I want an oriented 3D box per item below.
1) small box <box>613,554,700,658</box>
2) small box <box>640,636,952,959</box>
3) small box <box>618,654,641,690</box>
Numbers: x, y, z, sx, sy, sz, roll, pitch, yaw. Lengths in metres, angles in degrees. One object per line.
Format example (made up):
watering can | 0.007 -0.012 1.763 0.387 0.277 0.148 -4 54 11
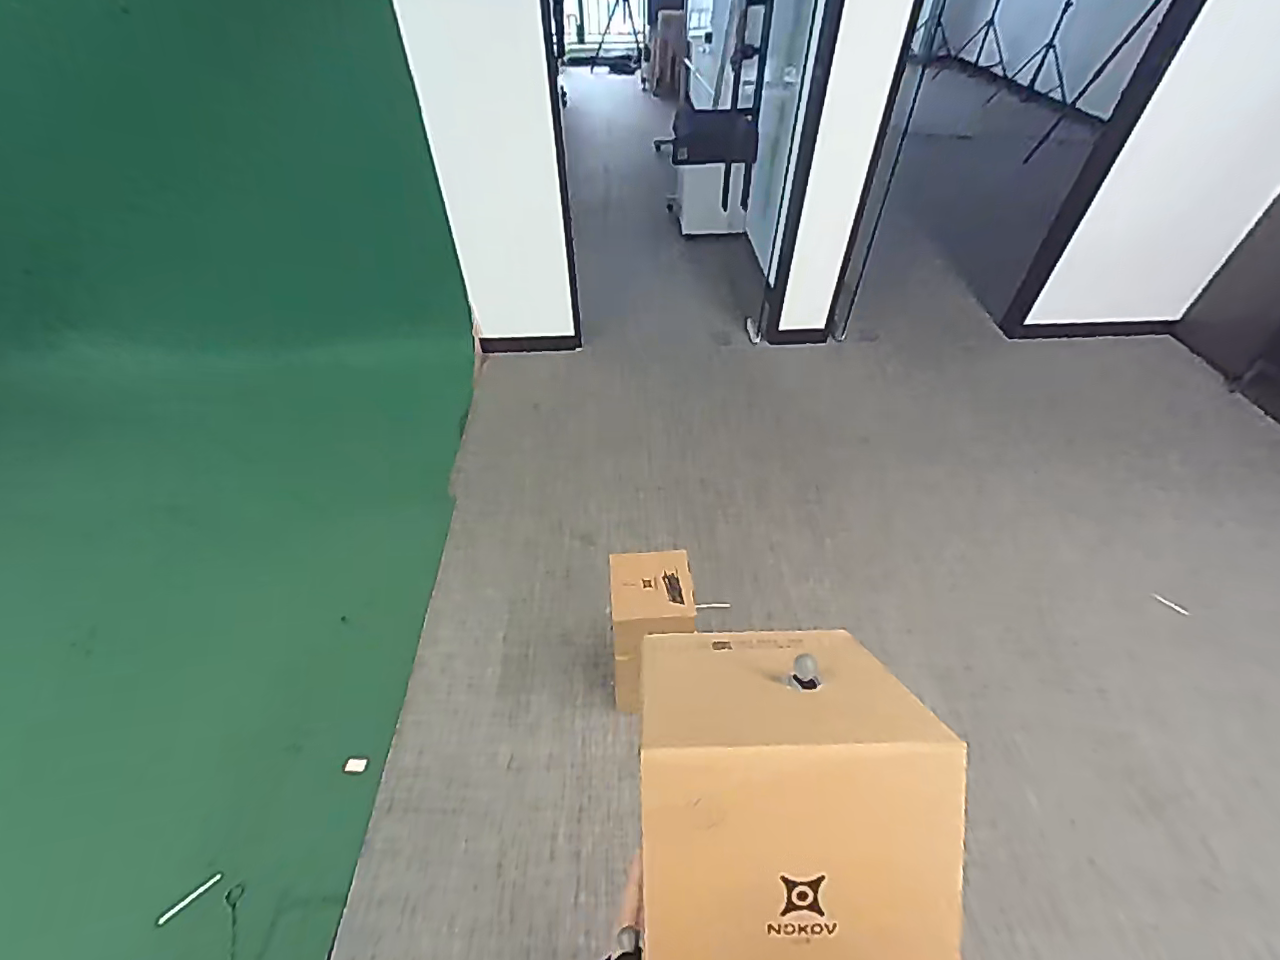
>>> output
small box | 0.032 0.284 1.210 0.179 0.176 0.168 -4 47 -2
small box | 0.083 0.215 0.369 0.168 0.179 0.176 -2 5 1
small box | 0.026 0.393 1.333 0.168 0.176 0.179 -5 48 -3
